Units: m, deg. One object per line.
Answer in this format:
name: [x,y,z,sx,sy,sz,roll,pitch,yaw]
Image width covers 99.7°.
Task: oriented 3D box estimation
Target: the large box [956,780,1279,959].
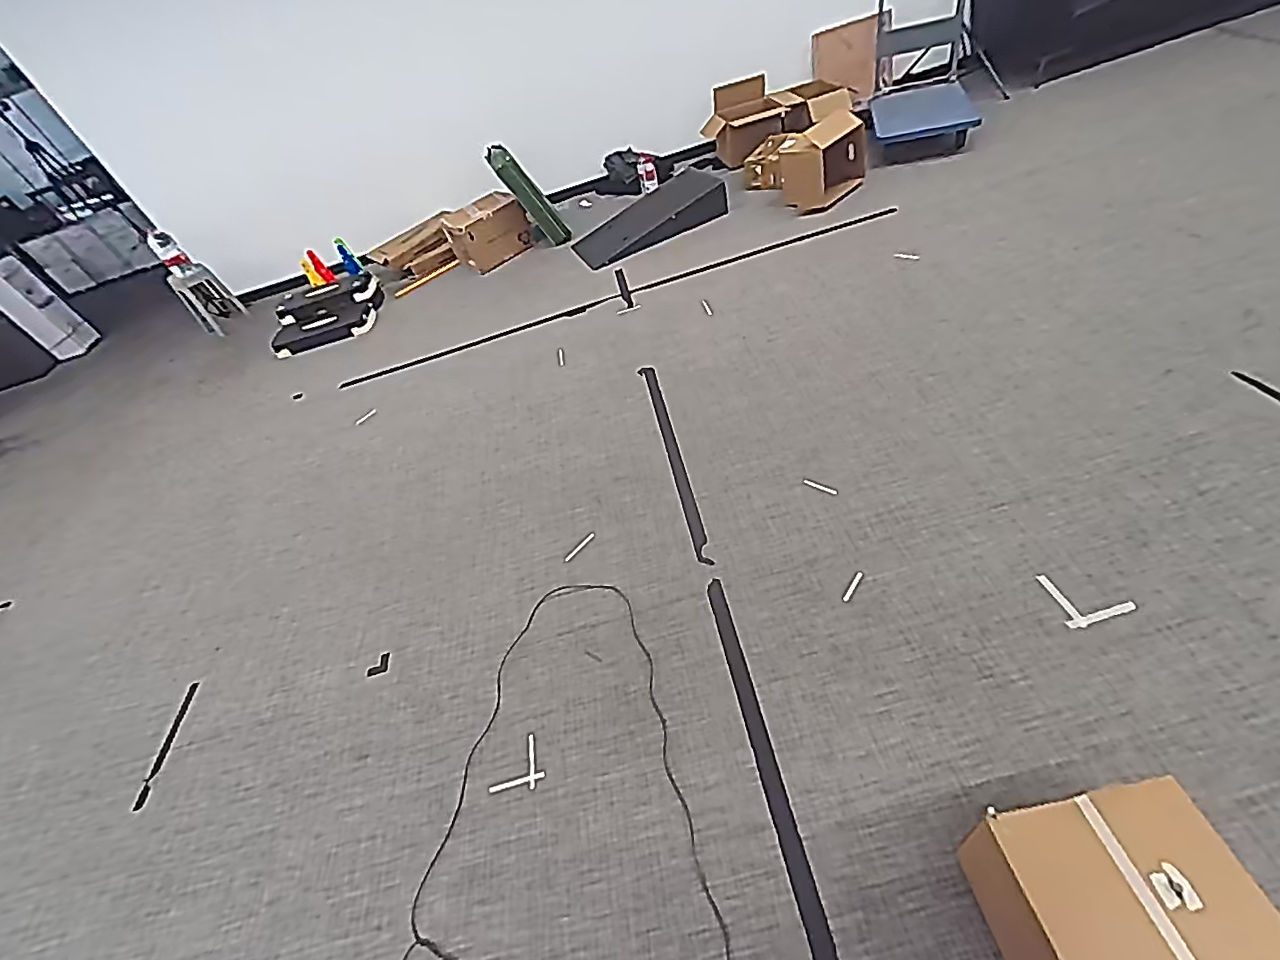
large box: [0.799,0.783,0.884,0.320,0.320,0.408,-15,43,3]
